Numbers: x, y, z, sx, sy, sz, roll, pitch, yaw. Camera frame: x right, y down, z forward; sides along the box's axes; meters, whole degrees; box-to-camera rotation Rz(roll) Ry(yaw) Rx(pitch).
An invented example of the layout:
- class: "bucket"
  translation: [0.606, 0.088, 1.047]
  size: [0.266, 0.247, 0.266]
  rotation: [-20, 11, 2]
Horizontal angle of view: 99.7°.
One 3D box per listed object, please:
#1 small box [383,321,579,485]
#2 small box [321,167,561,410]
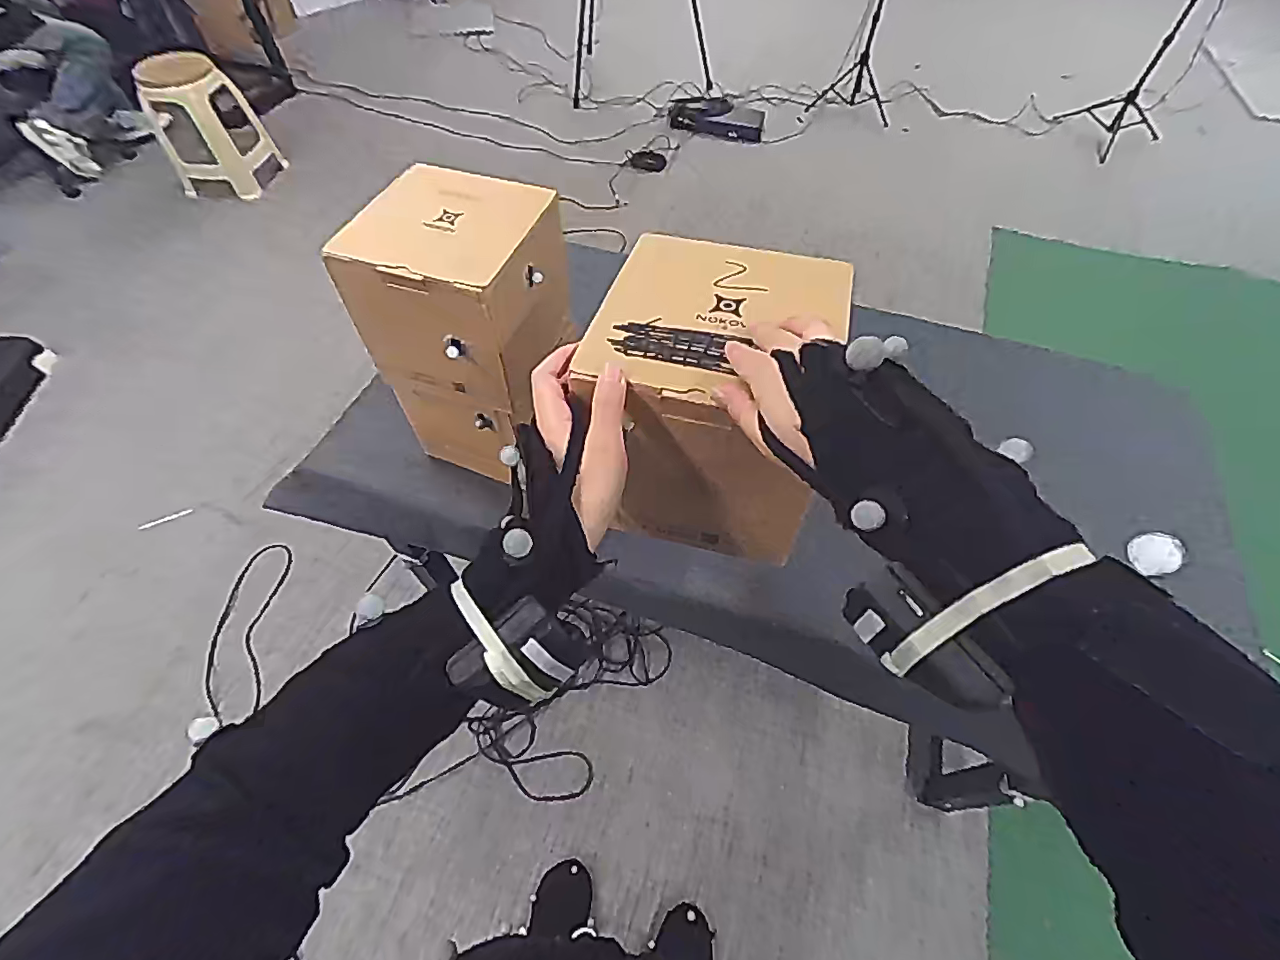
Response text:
- class: "small box"
  translation: [-0.197, -0.117, 0.728]
  size: [0.179, 0.176, 0.168]
  rotation: [19, 57, 11]
- class: "small box"
  translation: [-0.192, -0.203, 0.590]
  size: [0.168, 0.176, 0.179]
  rotation: [15, 55, 7]
